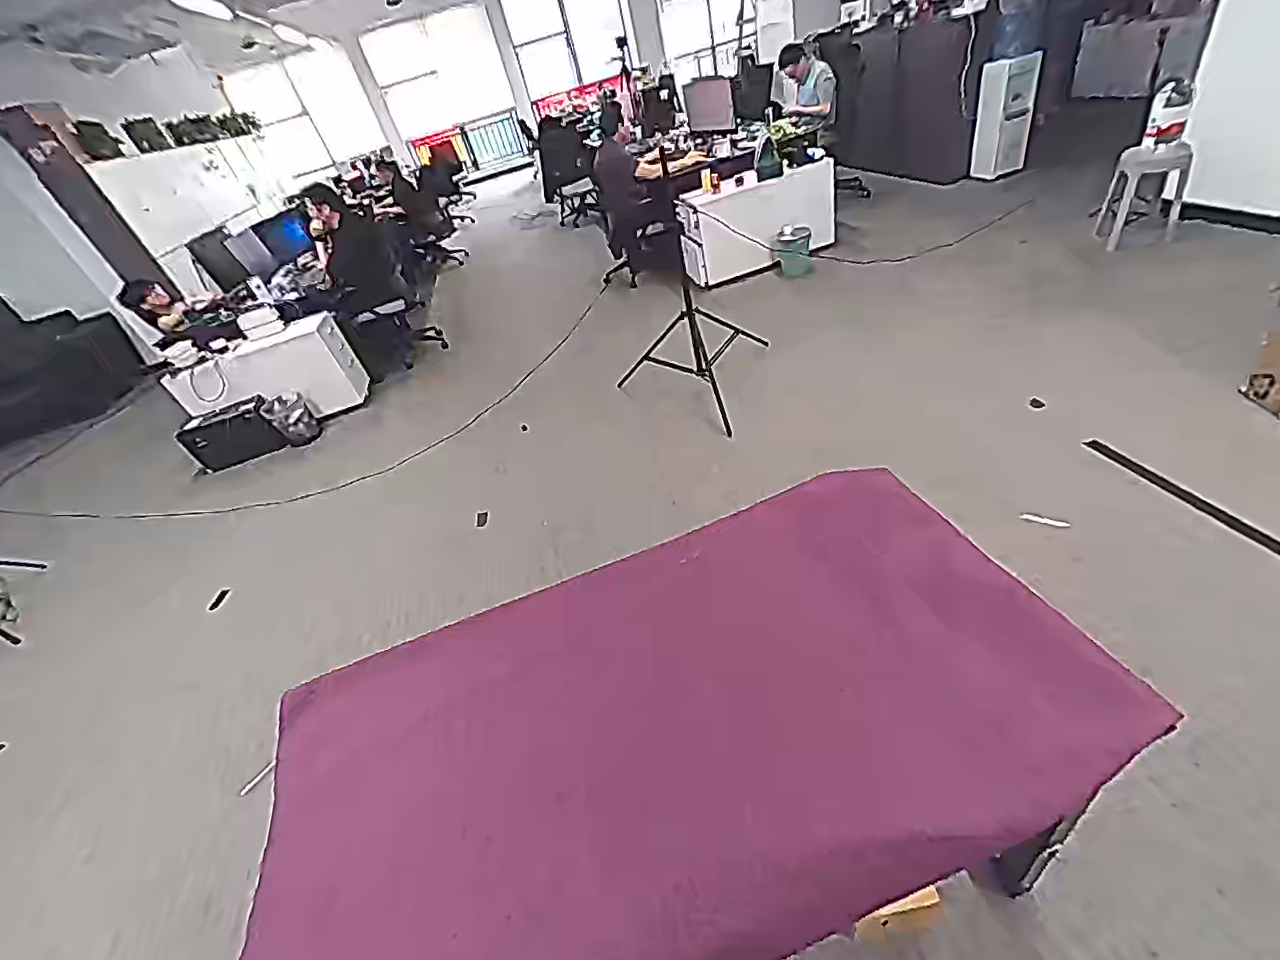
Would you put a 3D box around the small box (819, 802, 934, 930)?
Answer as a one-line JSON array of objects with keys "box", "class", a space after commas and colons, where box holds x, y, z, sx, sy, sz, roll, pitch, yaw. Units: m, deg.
[{"box": [0.495, 0.824, 1.148, 0.168, 0.176, 0.179, -15, 37, 3], "class": "small box"}]
